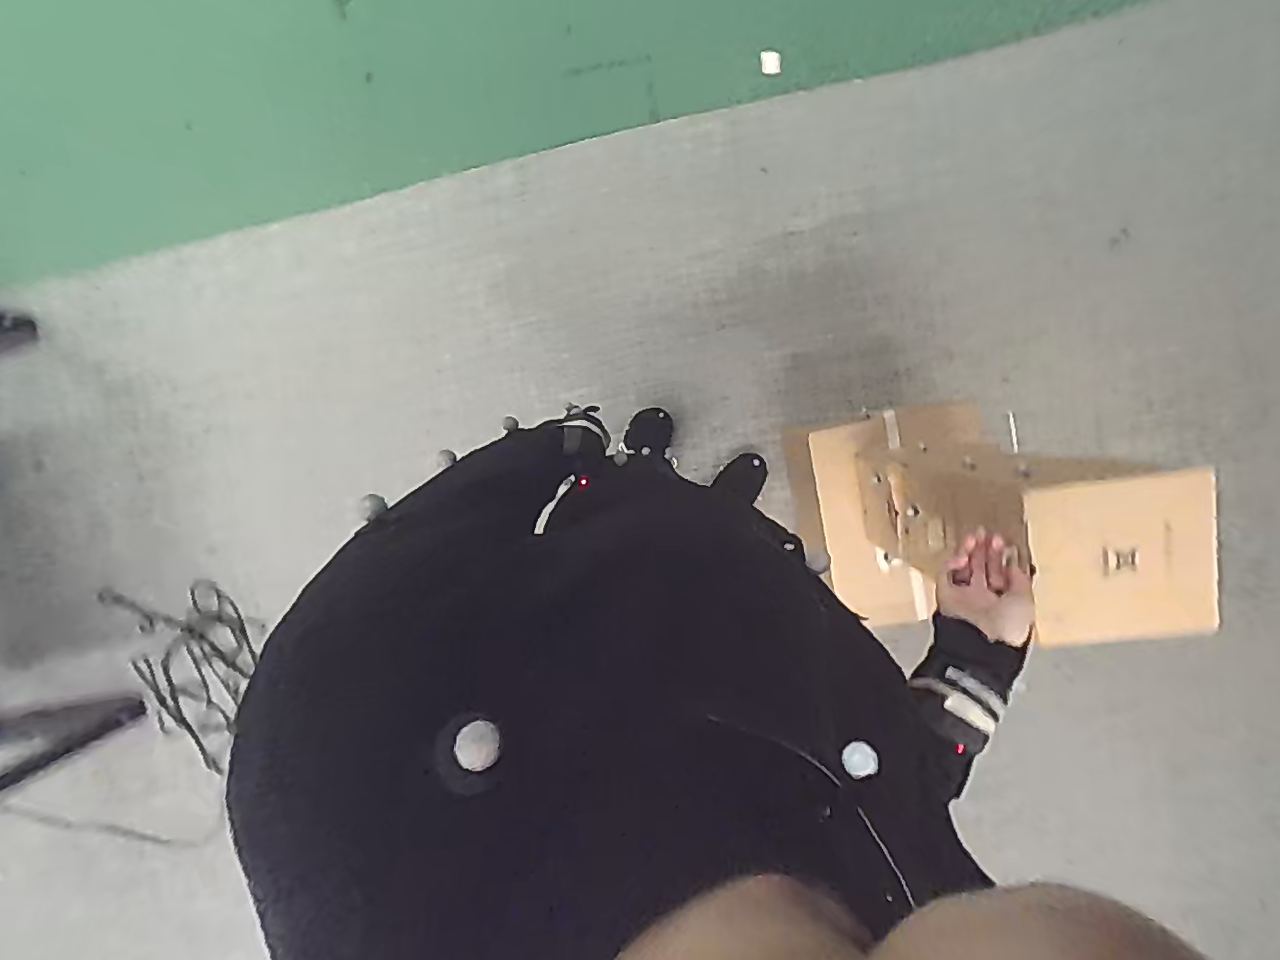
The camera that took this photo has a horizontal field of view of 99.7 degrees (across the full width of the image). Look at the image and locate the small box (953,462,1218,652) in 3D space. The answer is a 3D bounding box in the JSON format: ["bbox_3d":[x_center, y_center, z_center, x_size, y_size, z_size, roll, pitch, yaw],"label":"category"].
[{"bbox_3d":[0.476,0.075,0.608,0.179,0.176,0.168,-7,97,5],"label":"small box"}]

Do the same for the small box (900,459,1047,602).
[{"bbox_3d":[0.495,0.062,0.769,0.179,0.176,0.168,-5,96,6],"label":"small box"}]

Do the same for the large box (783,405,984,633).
[{"bbox_3d":[0.522,0.064,1.178,0.320,0.320,0.408,-11,96,7],"label":"large box"}]
